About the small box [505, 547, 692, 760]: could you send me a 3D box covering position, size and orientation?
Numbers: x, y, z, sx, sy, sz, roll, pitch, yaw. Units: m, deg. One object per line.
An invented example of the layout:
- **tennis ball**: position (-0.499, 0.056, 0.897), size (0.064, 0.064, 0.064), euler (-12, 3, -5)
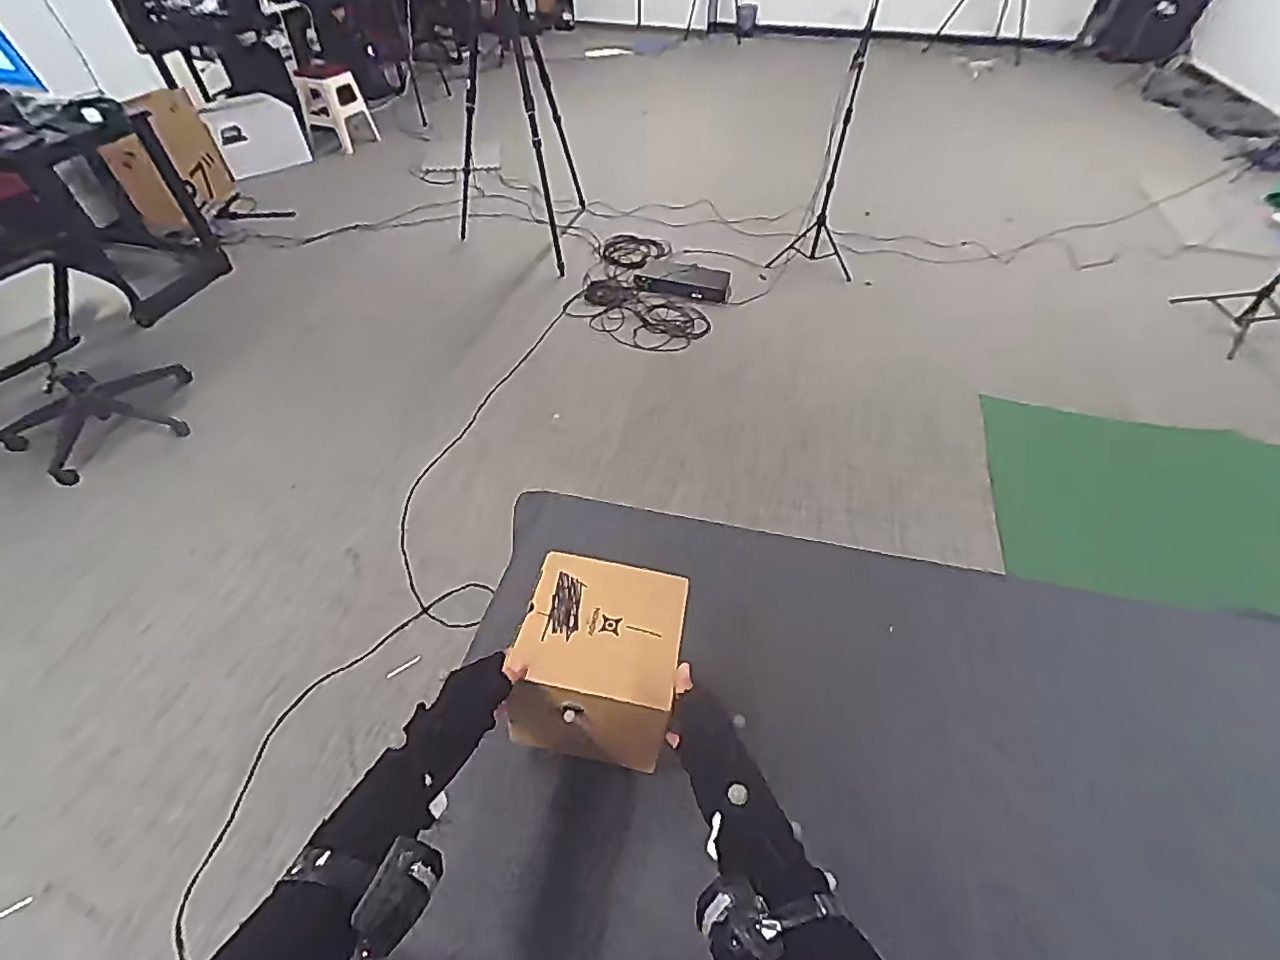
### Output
- **small box**: position (-0.044, 0.209, 0.646), size (0.179, 0.176, 0.168), euler (11, 44, 4)
